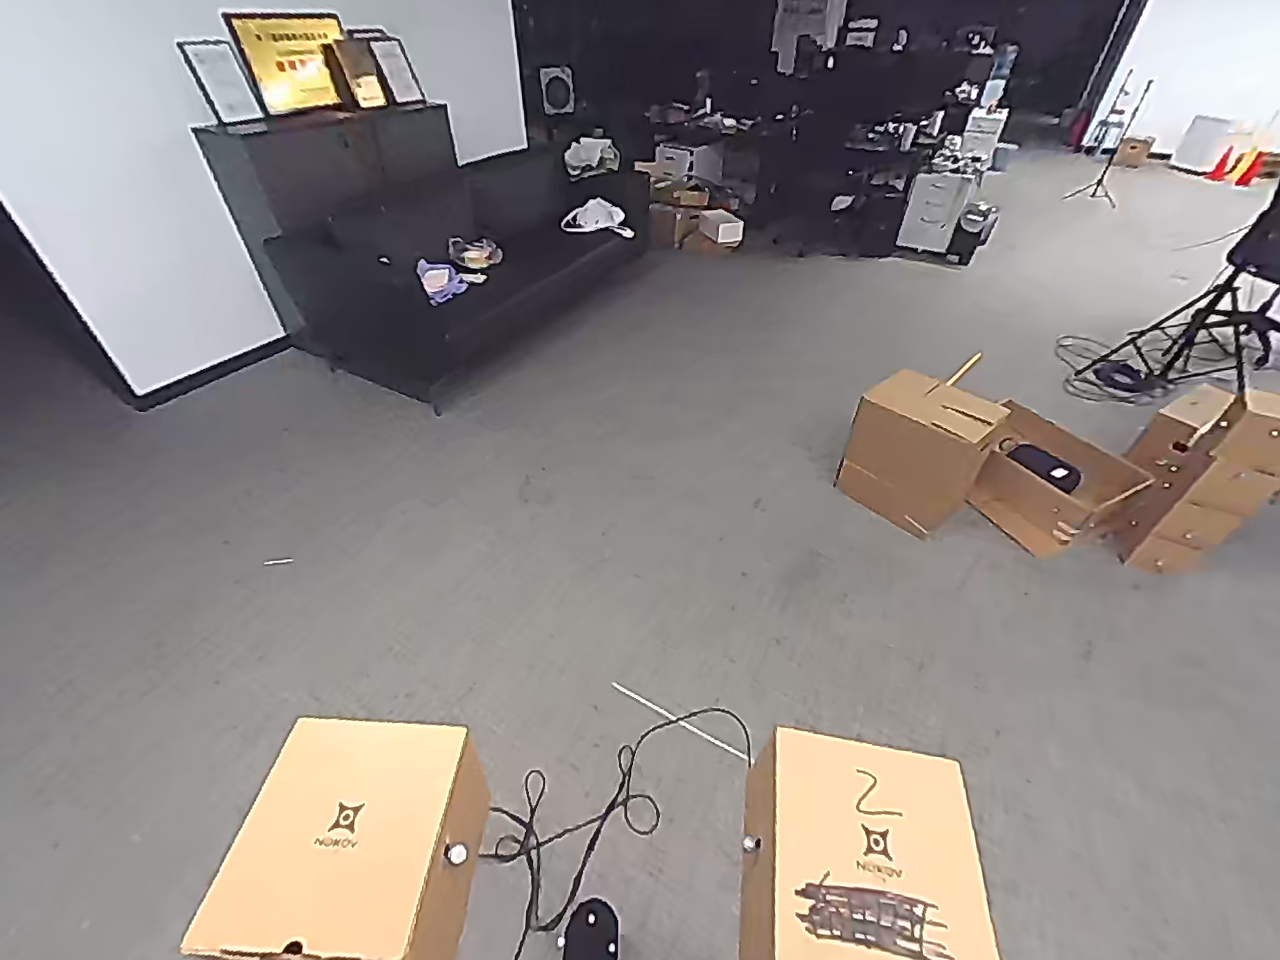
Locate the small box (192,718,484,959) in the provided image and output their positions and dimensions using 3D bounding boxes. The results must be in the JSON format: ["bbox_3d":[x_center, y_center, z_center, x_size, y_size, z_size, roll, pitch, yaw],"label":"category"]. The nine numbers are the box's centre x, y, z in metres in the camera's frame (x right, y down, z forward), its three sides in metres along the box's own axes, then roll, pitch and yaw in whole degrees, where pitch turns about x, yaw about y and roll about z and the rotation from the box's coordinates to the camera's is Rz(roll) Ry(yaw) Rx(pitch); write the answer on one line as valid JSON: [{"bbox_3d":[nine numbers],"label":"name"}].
[{"bbox_3d":[-0.257,0.358,0.518,0.168,0.176,0.179,4,41,0],"label":"small box"}]
